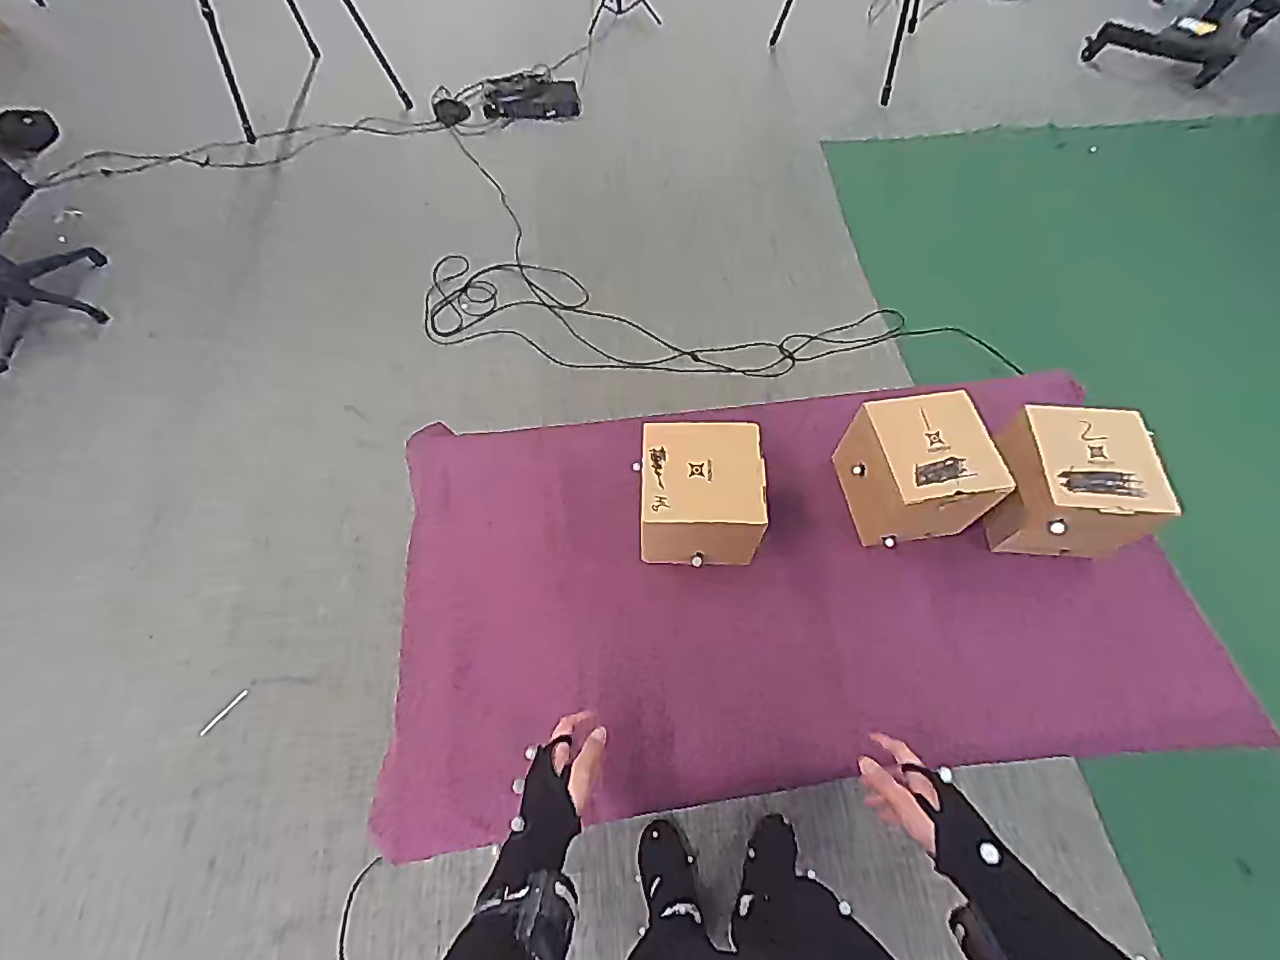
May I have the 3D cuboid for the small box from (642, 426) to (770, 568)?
[{"bbox_3d":[0.094,0.033,0.843,0.179,0.176,0.168,2,61,2],"label":"small box"}]
